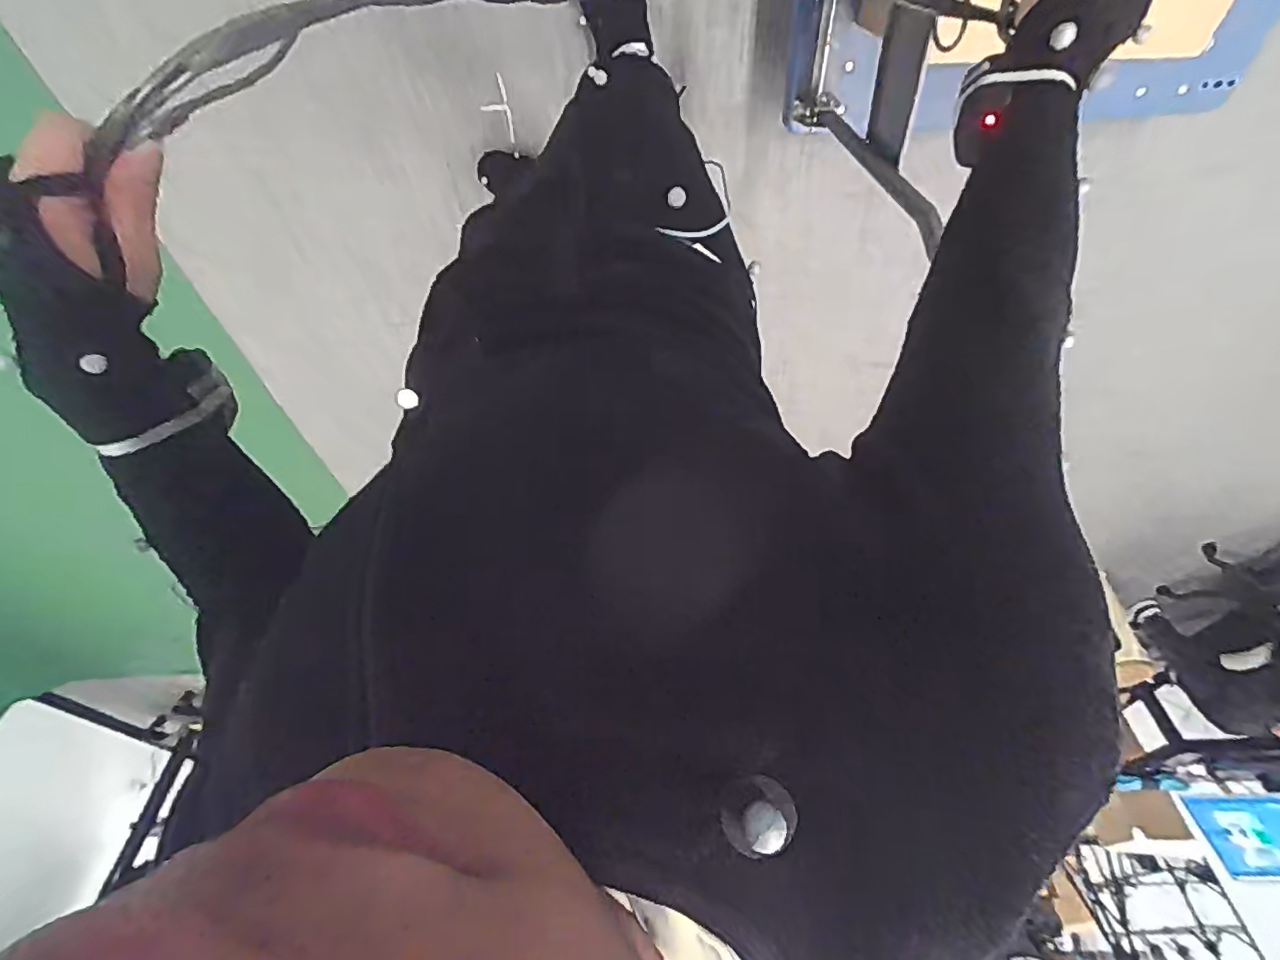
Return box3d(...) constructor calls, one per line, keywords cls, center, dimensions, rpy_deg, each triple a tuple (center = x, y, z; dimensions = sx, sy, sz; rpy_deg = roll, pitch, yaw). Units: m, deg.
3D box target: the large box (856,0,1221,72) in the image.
box3d(cls="large box", center=(0.583, -0.813, 0.772), dimensions=(0.408, 0.320, 0.320), rpy_deg=(-2, 138, -1))
